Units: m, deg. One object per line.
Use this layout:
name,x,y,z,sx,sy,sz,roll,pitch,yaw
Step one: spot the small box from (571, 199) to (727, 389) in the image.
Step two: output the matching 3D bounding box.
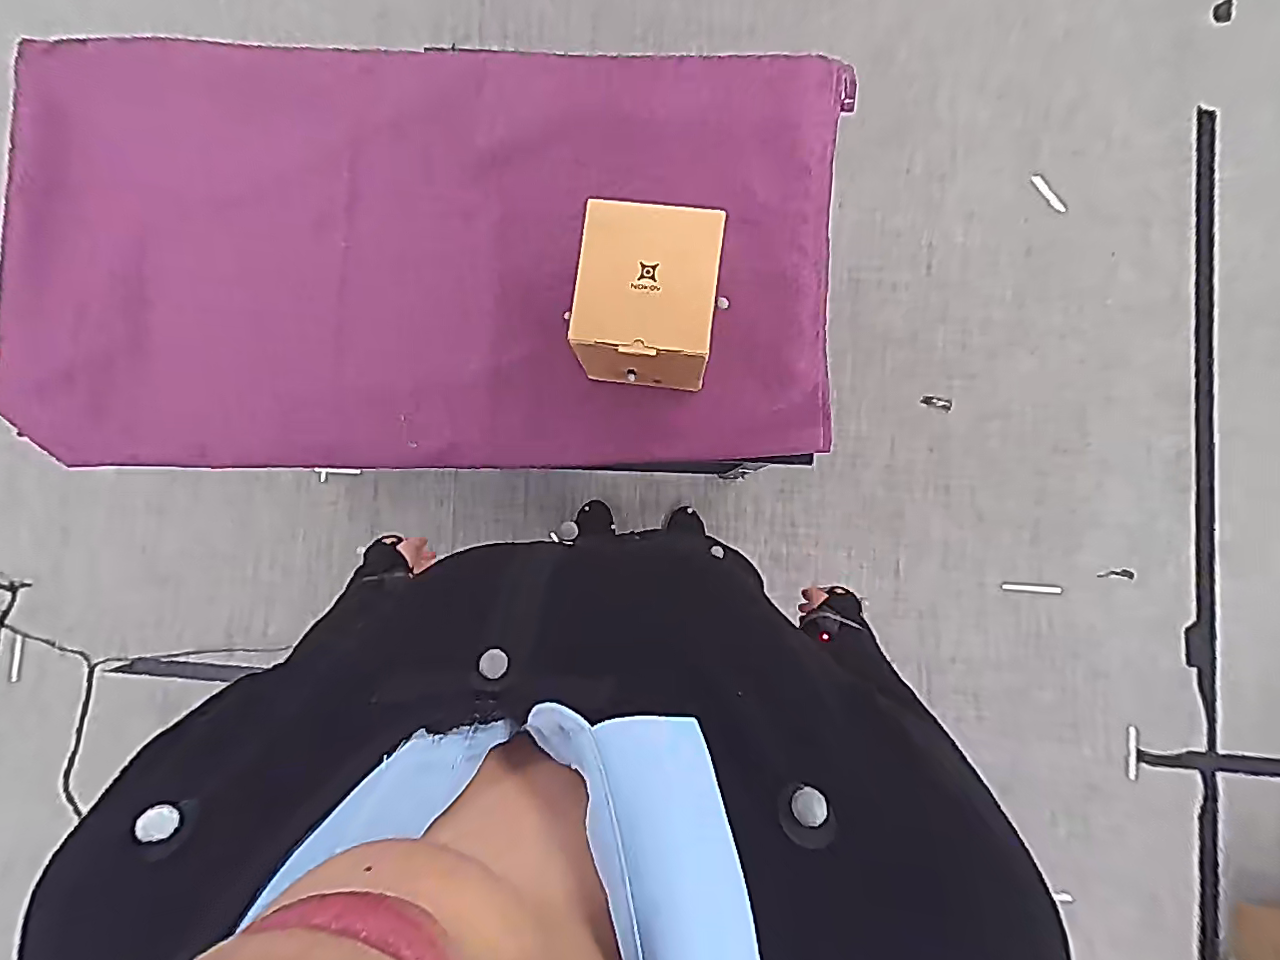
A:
small box,0.013,-0.231,0.708,0.168,0.176,0.179,7,87,3
